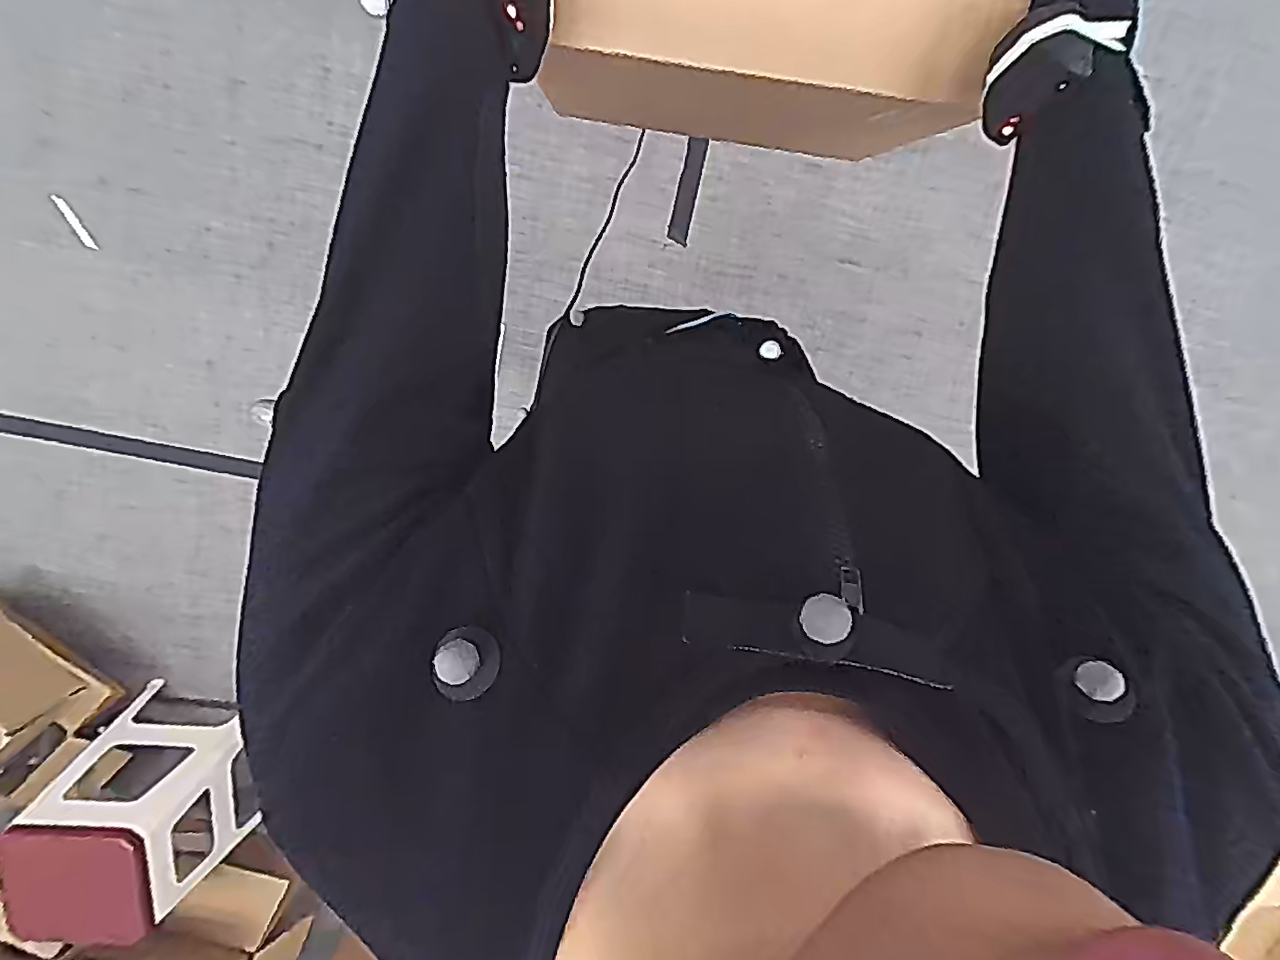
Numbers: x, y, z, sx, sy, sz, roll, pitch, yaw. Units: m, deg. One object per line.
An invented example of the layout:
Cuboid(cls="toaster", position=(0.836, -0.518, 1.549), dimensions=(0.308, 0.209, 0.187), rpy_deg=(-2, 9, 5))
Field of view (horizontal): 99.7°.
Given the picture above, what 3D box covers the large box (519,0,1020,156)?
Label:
Cuboid(cls="large box", position=(0.108, -0.528, 0.518), dimensions=(0.408, 0.320, 0.320), rpy_deg=(5, 115, -5))
